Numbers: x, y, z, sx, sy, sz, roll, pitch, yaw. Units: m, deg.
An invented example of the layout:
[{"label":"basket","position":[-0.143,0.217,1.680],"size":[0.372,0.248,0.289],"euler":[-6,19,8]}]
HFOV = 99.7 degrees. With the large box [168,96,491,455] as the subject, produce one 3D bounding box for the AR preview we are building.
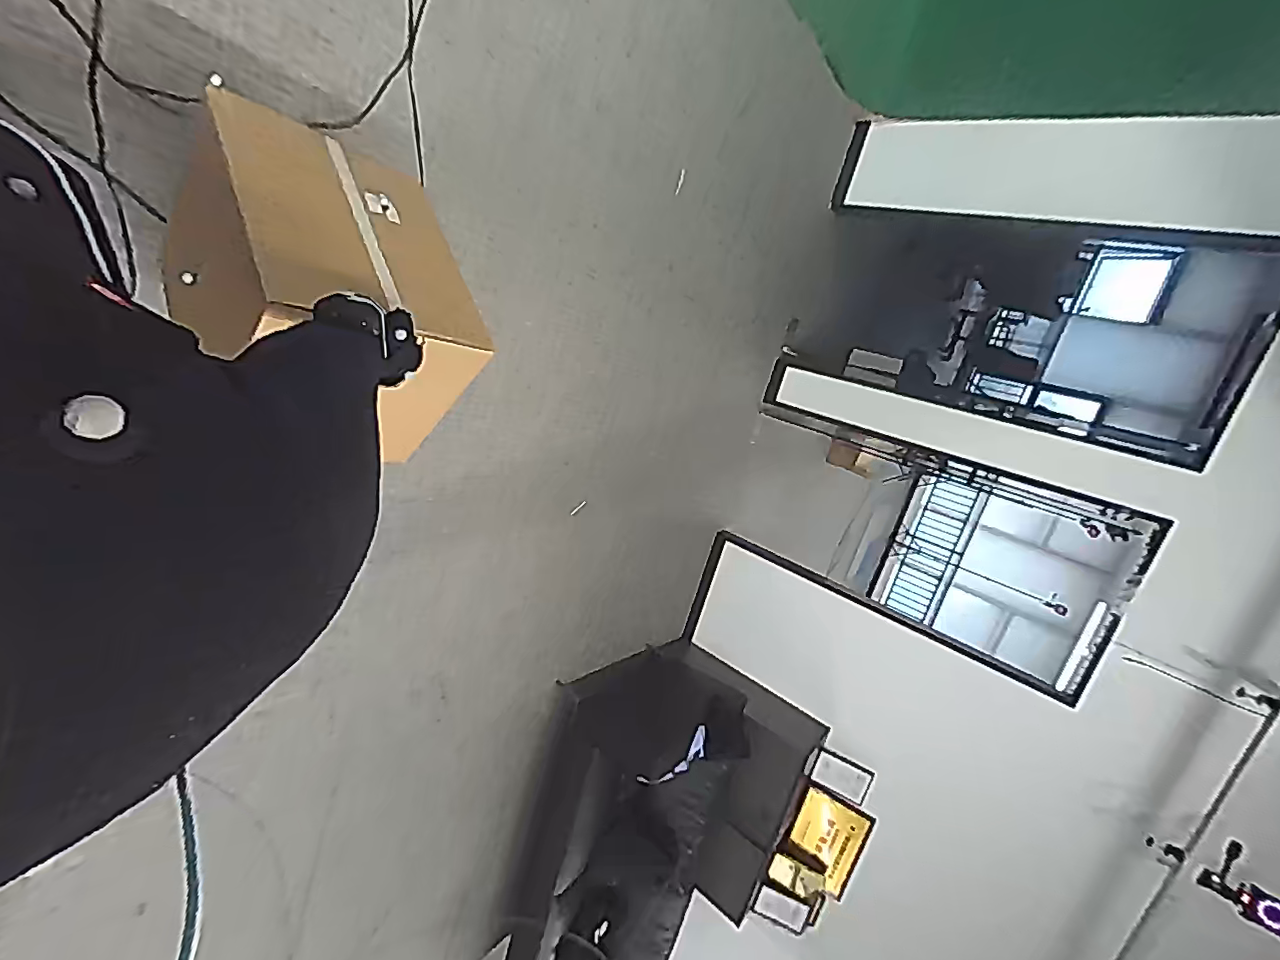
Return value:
[{"label":"large box","position":[-0.512,-0.287,0.878],"size":[0.320,0.408,0.320],"euler":[-40,158,31]}]
